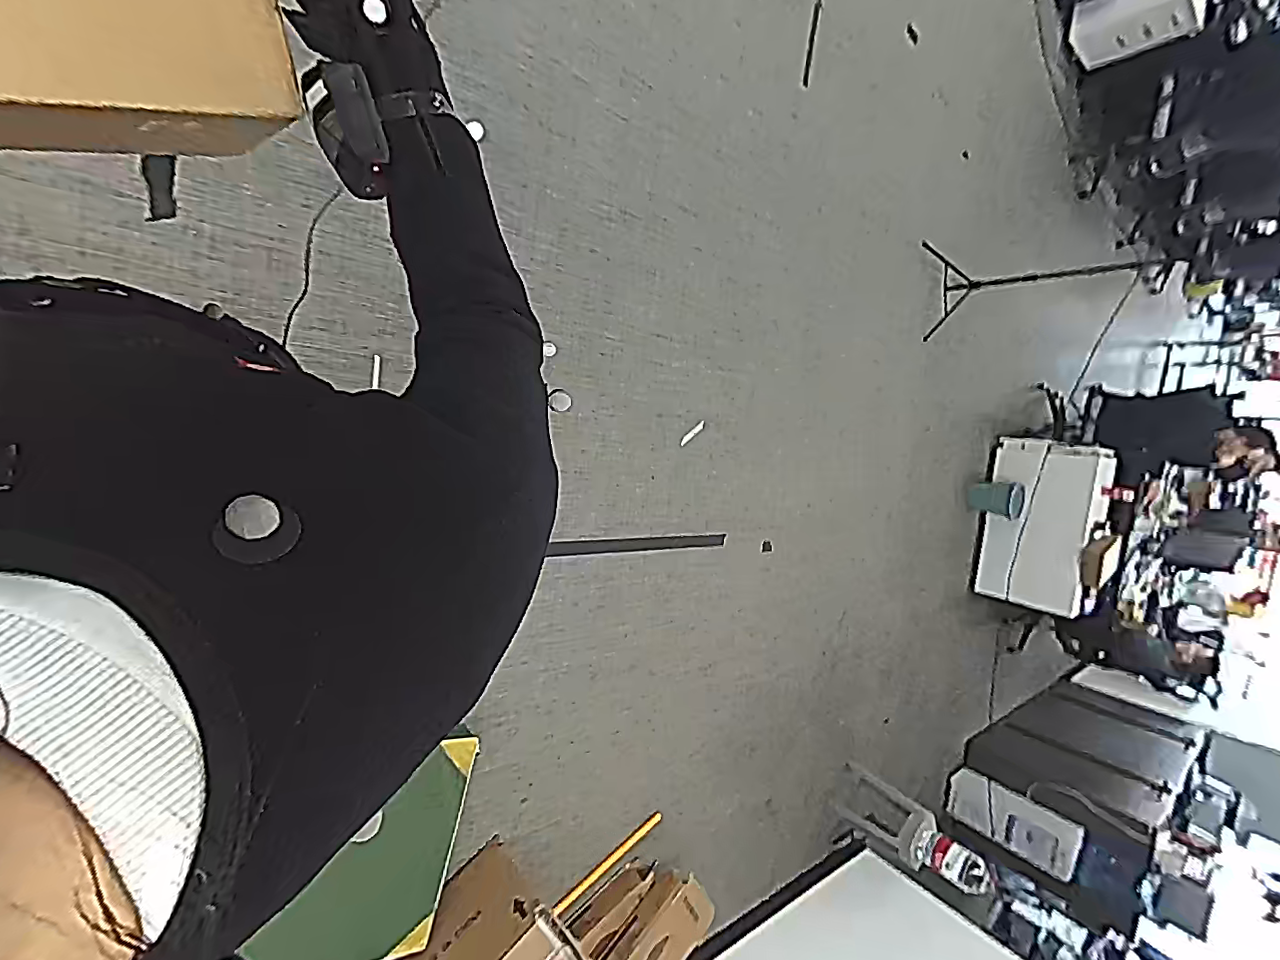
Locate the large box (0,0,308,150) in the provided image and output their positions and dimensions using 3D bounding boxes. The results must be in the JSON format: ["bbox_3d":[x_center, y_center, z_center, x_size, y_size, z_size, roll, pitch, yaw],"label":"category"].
[{"bbox_3d":[-0.472,-0.365,0.282,0.408,0.320,0.320,-23,125,-35],"label":"large box"}]
